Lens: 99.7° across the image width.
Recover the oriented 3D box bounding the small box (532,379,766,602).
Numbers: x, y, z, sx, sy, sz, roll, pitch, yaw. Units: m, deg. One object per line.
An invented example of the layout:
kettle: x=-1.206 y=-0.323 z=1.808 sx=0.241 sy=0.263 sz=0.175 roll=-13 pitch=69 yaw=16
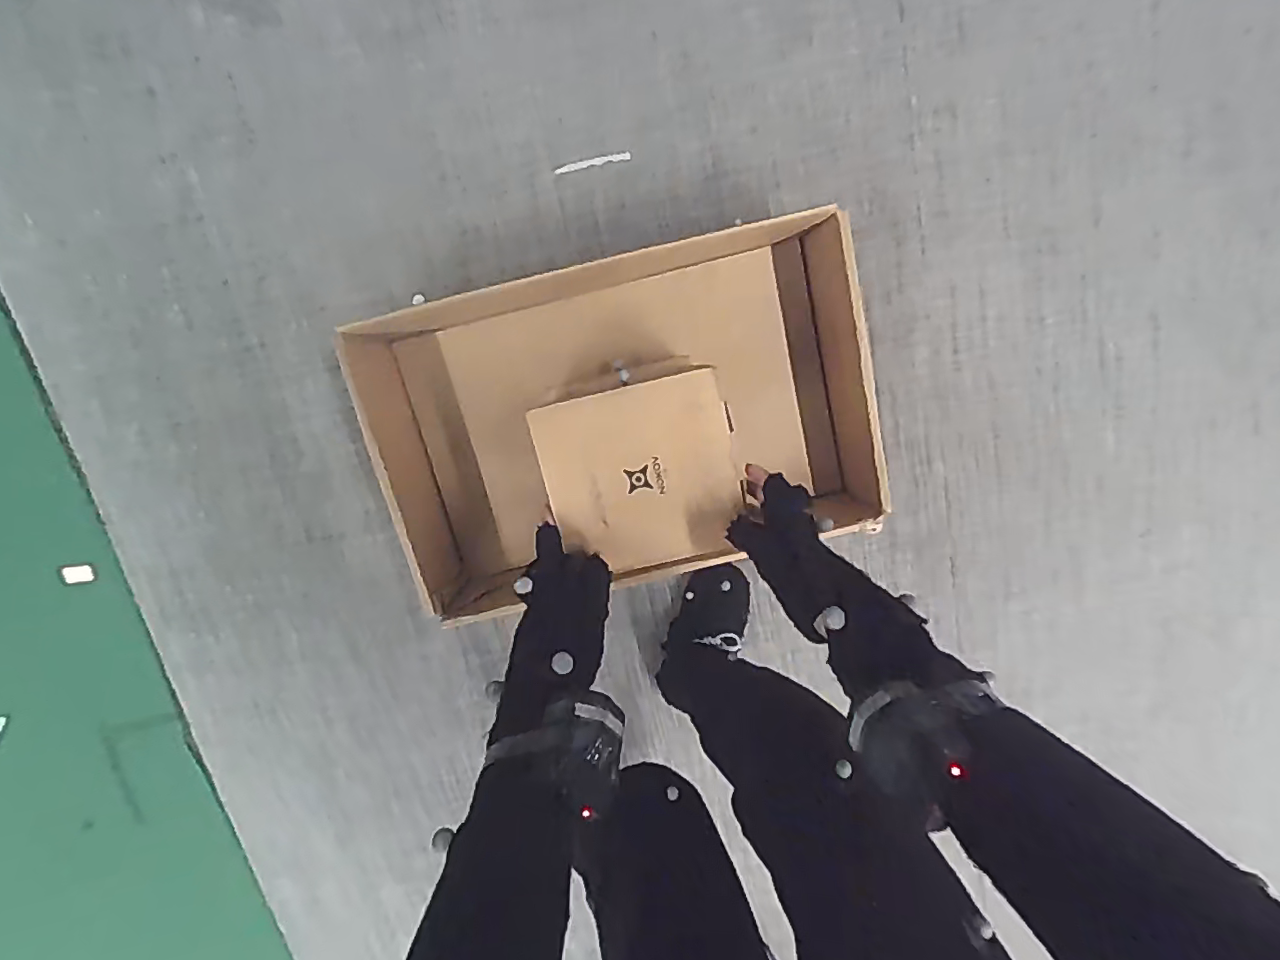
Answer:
small box: x=0.008 y=-0.003 z=0.556 sx=0.179 sy=0.176 sz=0.168 roll=-17 pitch=101 yaw=2

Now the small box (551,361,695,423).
small box: x=-0.003 y=-0.055 z=0.730 sx=0.179 sy=0.176 sz=0.168 roll=-15 pitch=100 yaw=2
